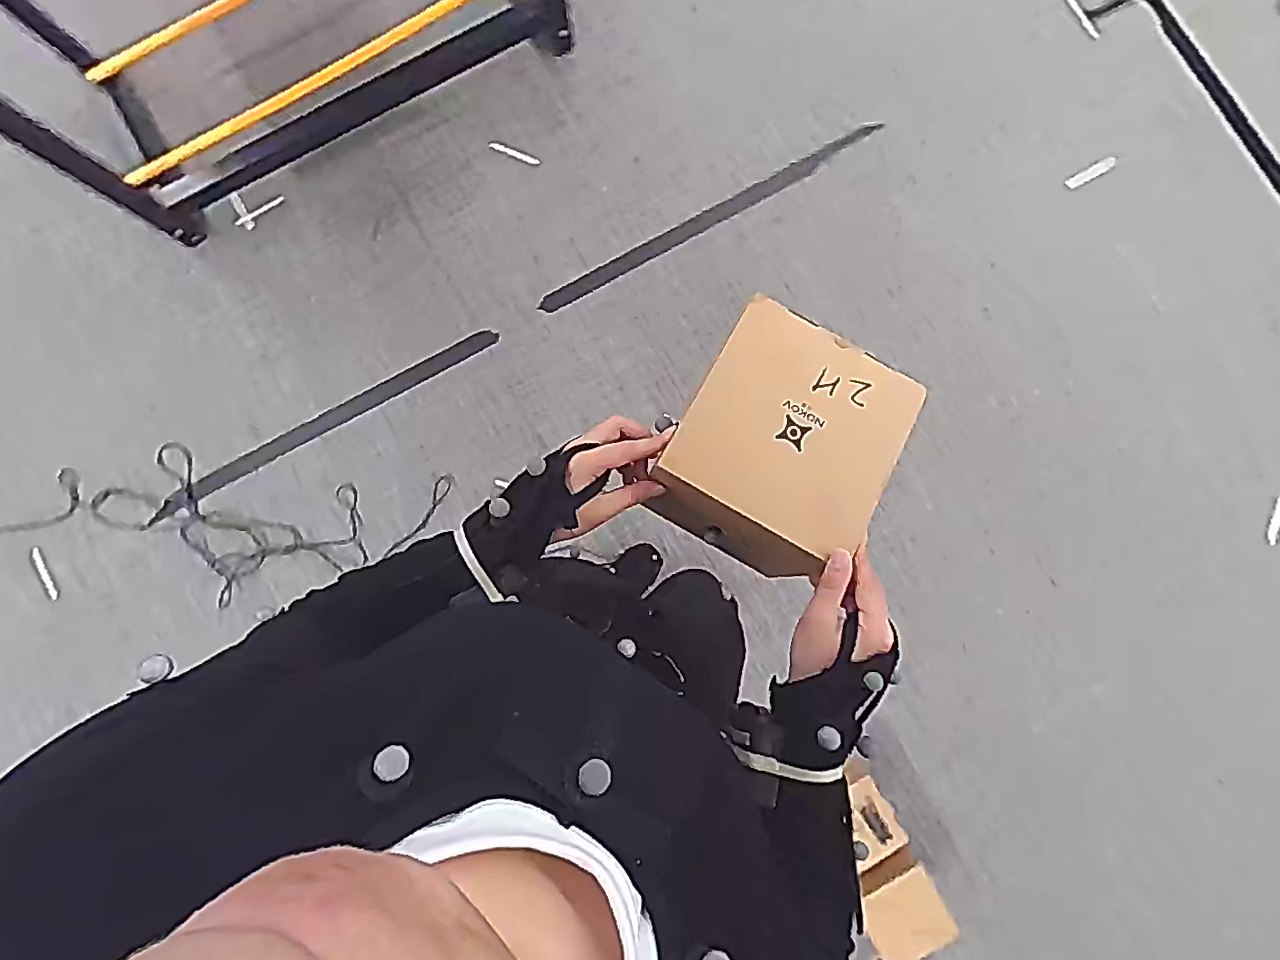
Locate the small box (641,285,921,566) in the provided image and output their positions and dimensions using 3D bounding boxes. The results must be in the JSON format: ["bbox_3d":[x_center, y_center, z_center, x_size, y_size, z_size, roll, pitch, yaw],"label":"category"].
[{"bbox_3d":[0.112,-0.033,0.501,0.168,0.176,0.179,29,76,0],"label":"small box"}]

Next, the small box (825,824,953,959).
[{"bbox_3d":[0.563,0.948,1.238,0.179,0.176,0.168,-29,86,-2],"label":"small box"}]
